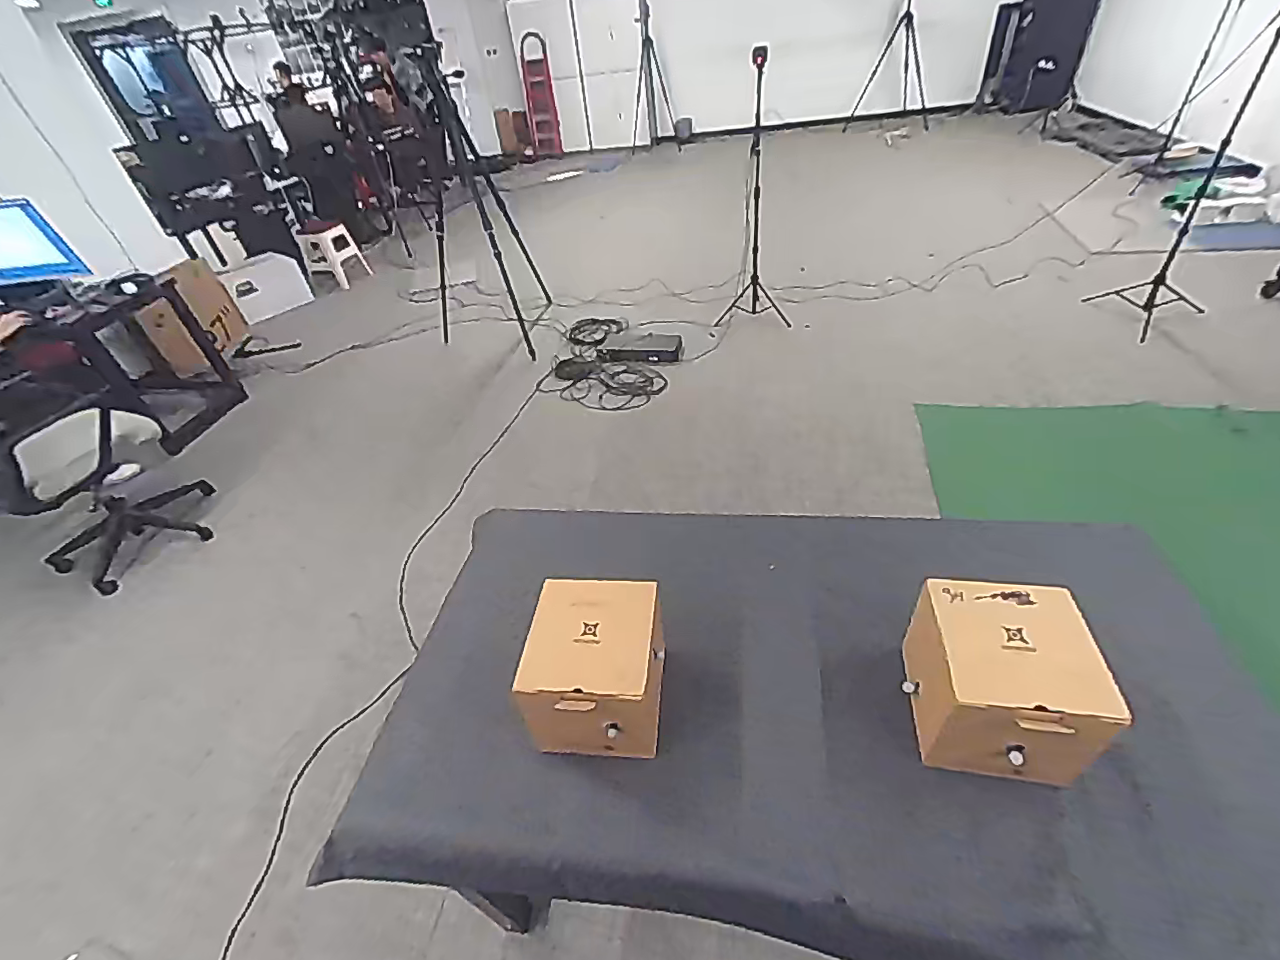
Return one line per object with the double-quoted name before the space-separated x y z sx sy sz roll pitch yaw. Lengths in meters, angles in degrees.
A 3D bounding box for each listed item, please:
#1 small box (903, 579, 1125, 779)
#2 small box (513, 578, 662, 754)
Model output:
"small box" 0.448 0.251 0.685 0.168 0.176 0.179 3 42 13
"small box" -0.059 0.260 0.759 0.168 0.176 0.179 1 39 7
